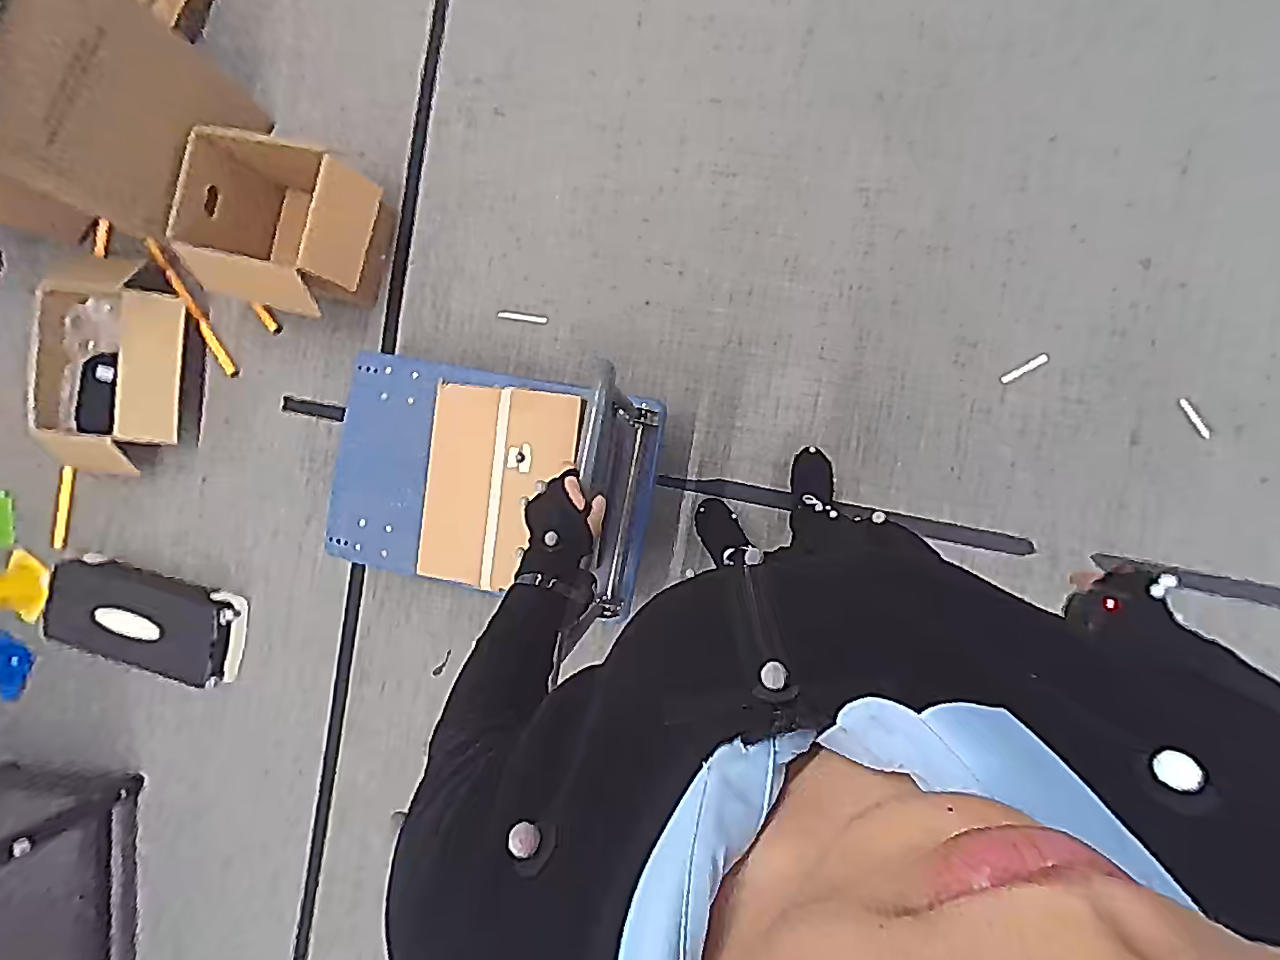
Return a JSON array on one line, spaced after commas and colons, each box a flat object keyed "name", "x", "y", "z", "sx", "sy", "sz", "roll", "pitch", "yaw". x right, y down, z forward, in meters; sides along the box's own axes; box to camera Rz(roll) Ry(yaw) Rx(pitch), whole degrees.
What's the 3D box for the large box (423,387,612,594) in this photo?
[{"name": "large box", "x": -0.260, "y": 0.022, "z": 1.249, "sx": 0.320, "sy": 0.320, "sz": 0.408, "roll": 6, "pitch": 90, "yaw": 9}]
